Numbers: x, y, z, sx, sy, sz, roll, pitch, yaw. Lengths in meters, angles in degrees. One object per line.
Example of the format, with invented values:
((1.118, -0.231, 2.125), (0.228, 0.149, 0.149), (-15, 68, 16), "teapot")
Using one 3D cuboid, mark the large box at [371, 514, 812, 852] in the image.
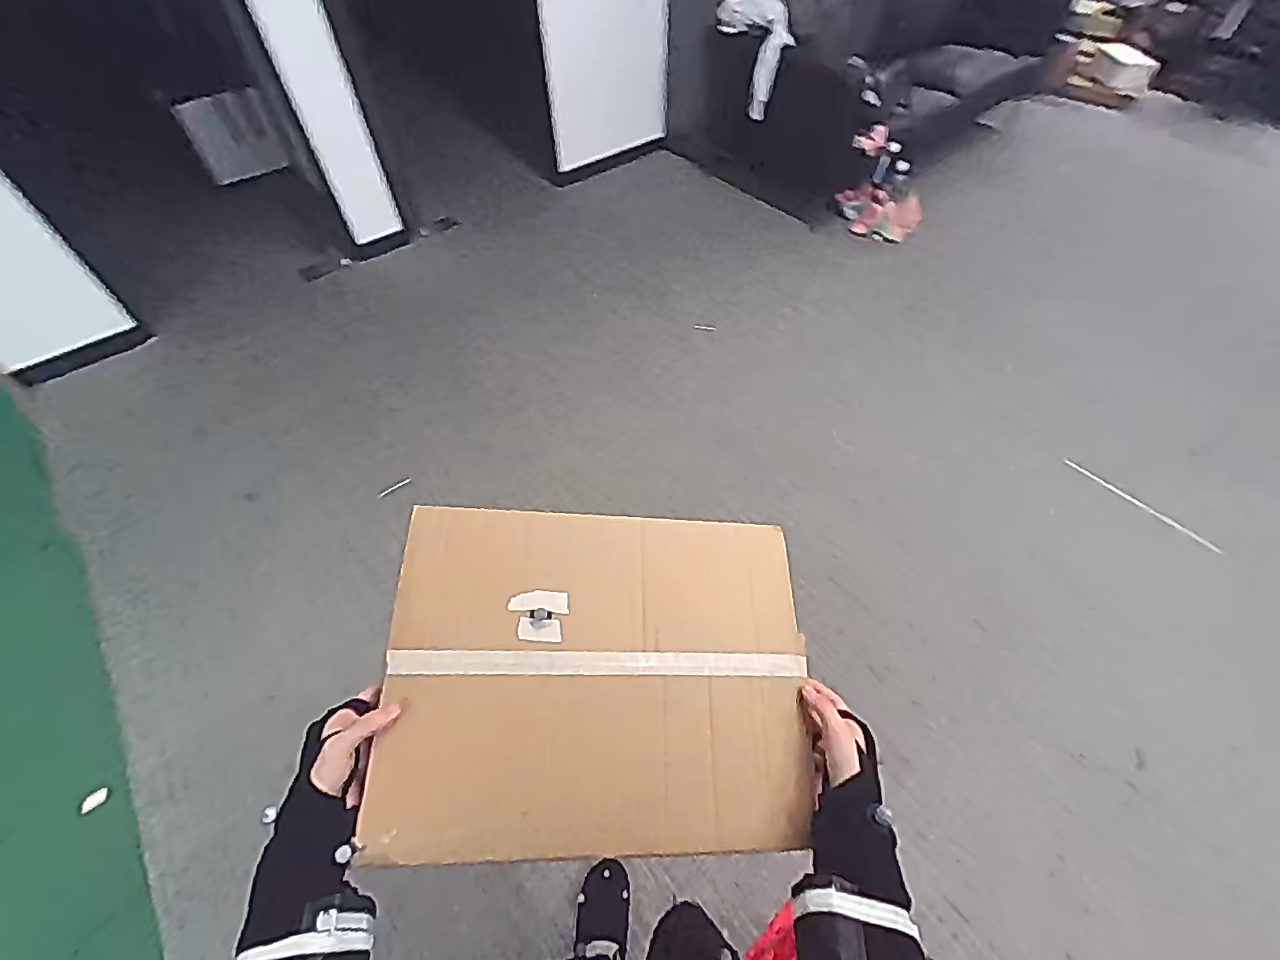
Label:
((-0.052, 0.247, 0.677), (0.408, 0.320, 0.320), (4, 64, -8), "large box")
